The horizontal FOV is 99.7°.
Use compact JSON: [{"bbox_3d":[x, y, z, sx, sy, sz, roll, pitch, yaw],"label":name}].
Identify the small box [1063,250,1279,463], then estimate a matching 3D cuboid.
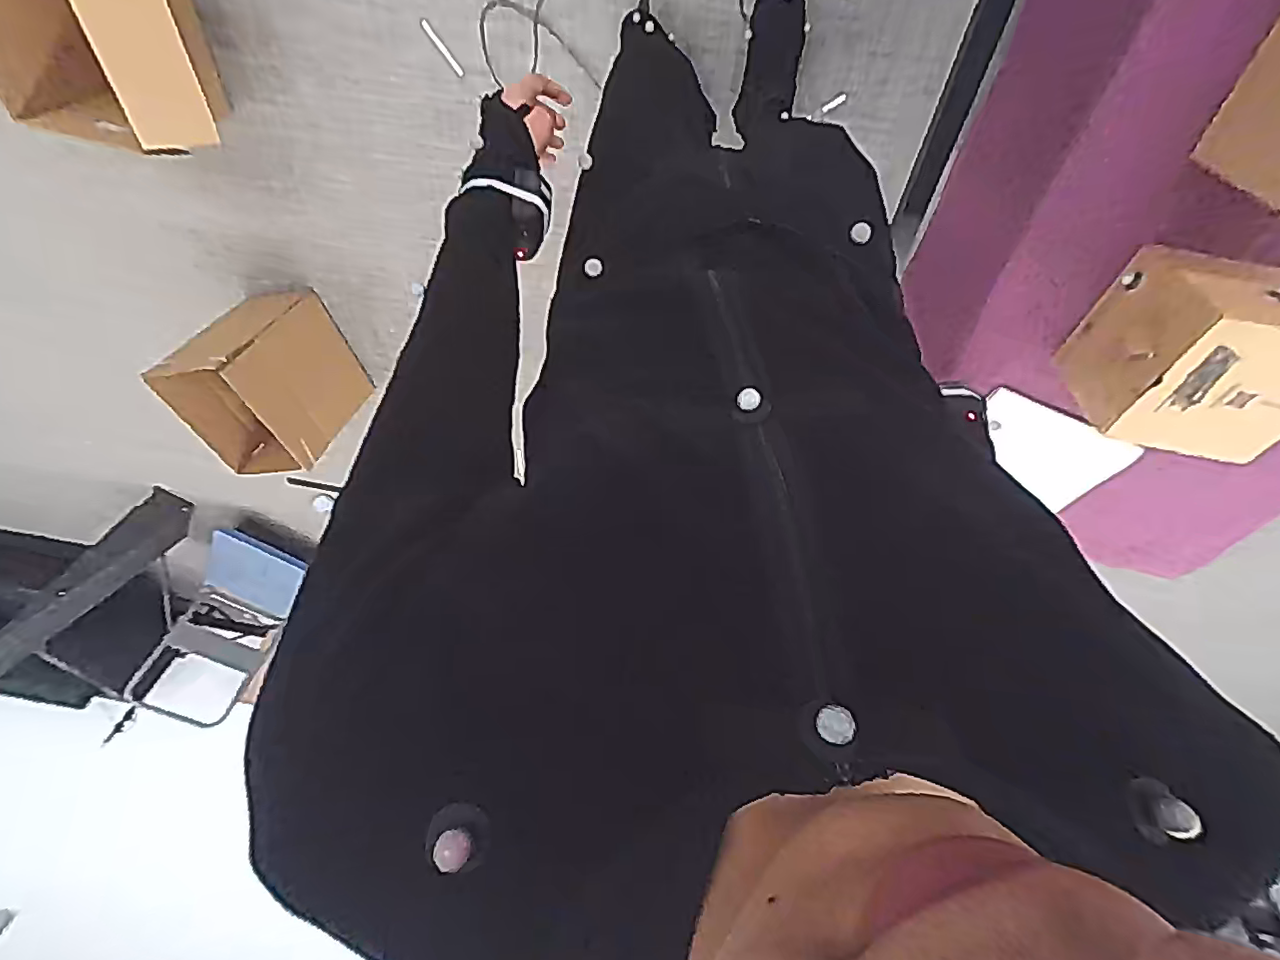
[{"bbox_3d":[0.656,-0.149,0.636,0.179,0.176,0.168,11,138,1],"label":"small box"}]
